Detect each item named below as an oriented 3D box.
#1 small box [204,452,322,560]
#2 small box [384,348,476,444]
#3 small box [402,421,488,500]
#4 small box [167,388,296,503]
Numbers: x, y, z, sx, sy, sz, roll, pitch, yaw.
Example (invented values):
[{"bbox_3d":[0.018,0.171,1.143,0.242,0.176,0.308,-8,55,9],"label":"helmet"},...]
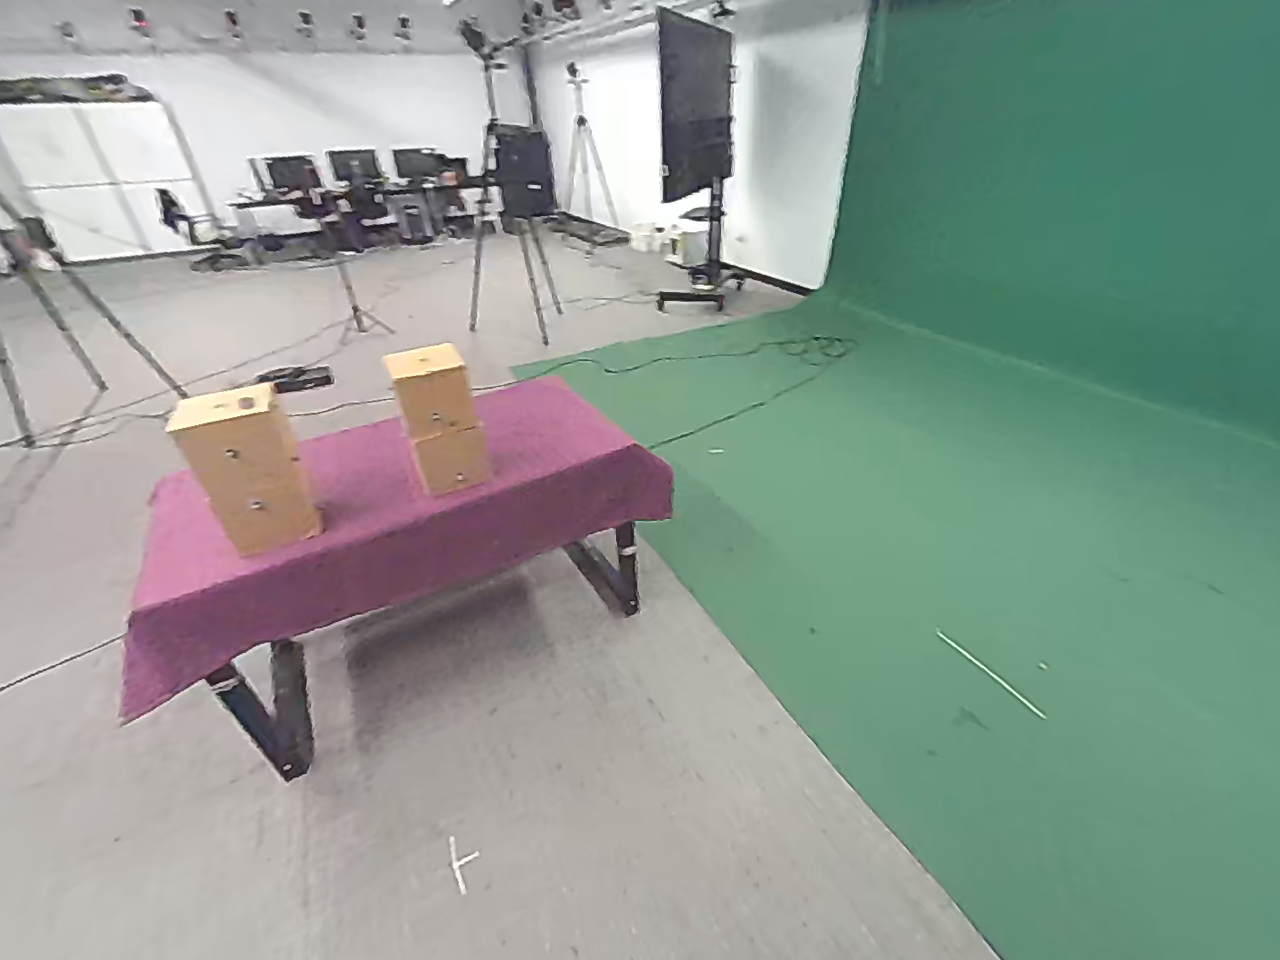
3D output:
[{"bbox_3d":[-0.875,0.061,1.272,0.179,0.176,0.168,-17,37,-22],"label":"small box"},{"bbox_3d":[-0.528,-0.212,1.362,0.168,0.176,0.179,-19,38,-22],"label":"small box"},{"bbox_3d":[-0.515,-0.072,1.446,0.179,0.176,0.168,-18,36,-23],"label":"small box"},{"bbox_3d":[-0.877,-0.077,1.184,0.179,0.176,0.168,-19,38,-22],"label":"small box"}]
